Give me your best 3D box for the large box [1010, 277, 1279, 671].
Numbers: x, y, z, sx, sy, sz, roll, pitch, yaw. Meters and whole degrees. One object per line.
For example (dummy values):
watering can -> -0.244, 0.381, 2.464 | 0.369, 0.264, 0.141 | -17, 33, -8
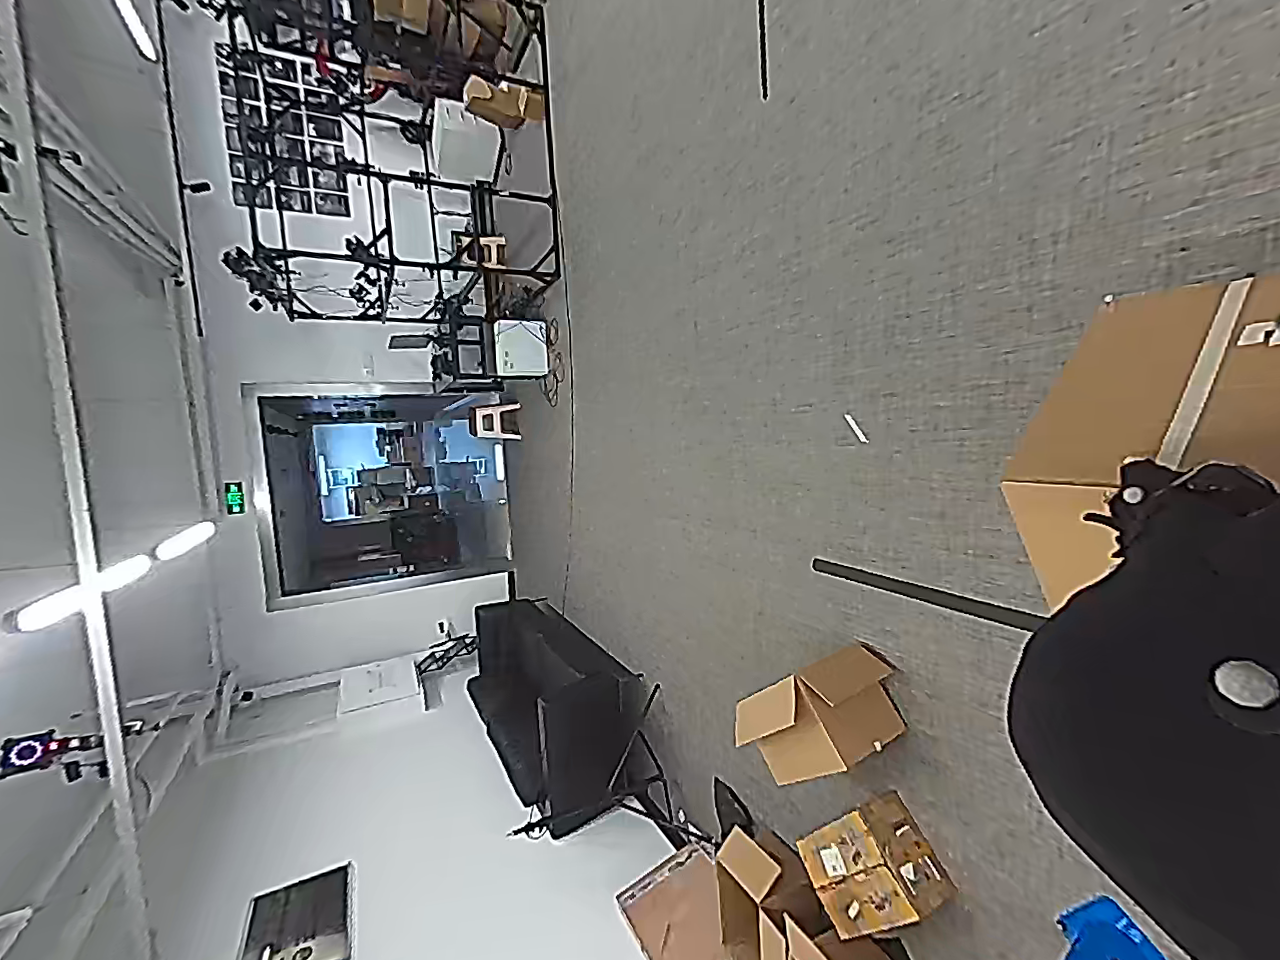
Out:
large box -> 0.771, -0.015, 0.712 | 0.320, 0.408, 0.320 | 53, 157, -24
